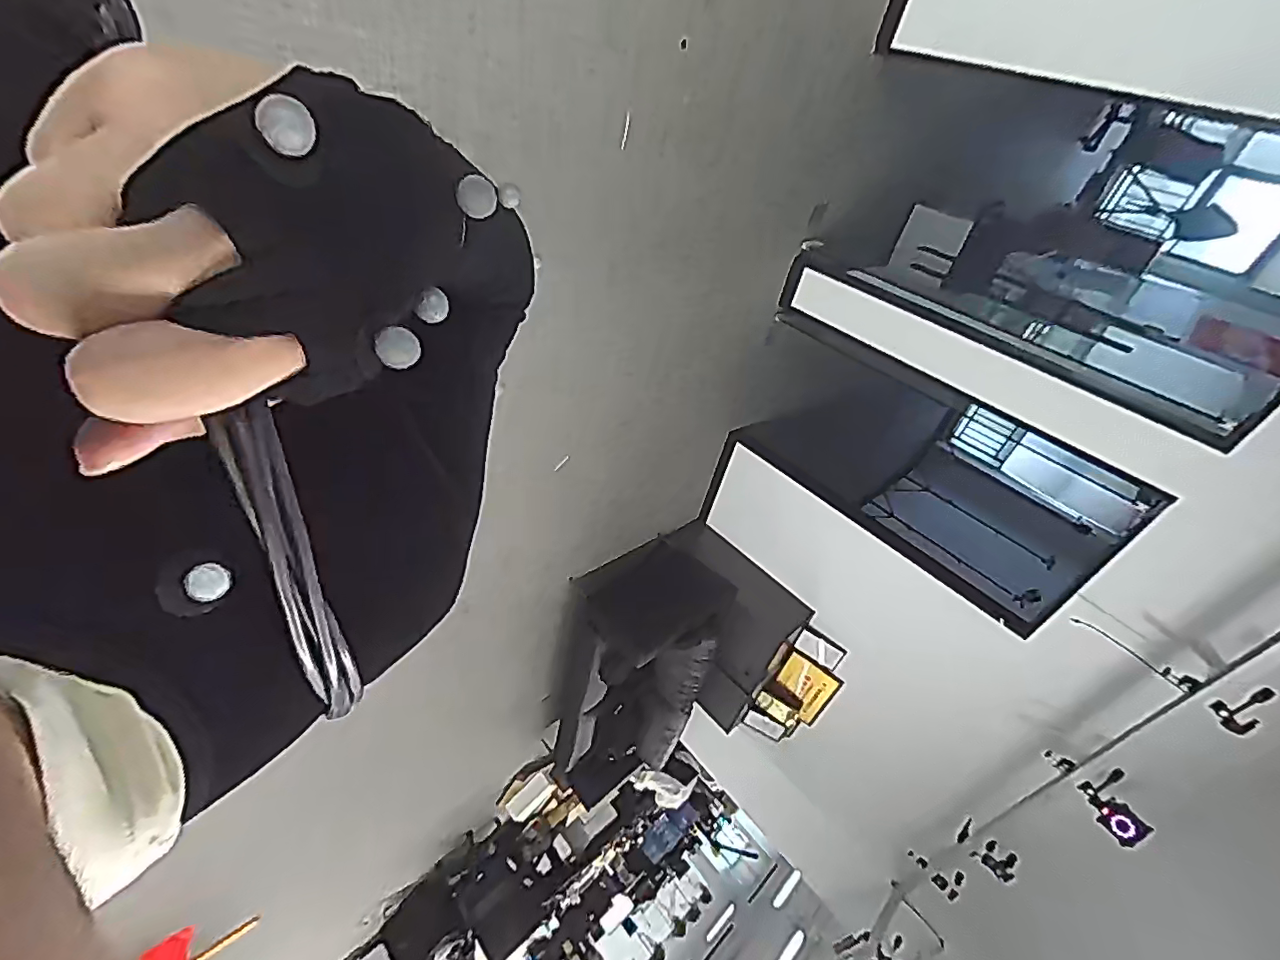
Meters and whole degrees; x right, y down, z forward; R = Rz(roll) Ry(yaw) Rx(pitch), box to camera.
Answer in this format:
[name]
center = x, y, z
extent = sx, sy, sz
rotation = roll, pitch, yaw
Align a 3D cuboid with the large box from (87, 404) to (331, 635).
[large box]
center = -1.029, 0.090, 1.328
extent = 0.320, 0.320, 0.408
rotation = -28, 145, -35
